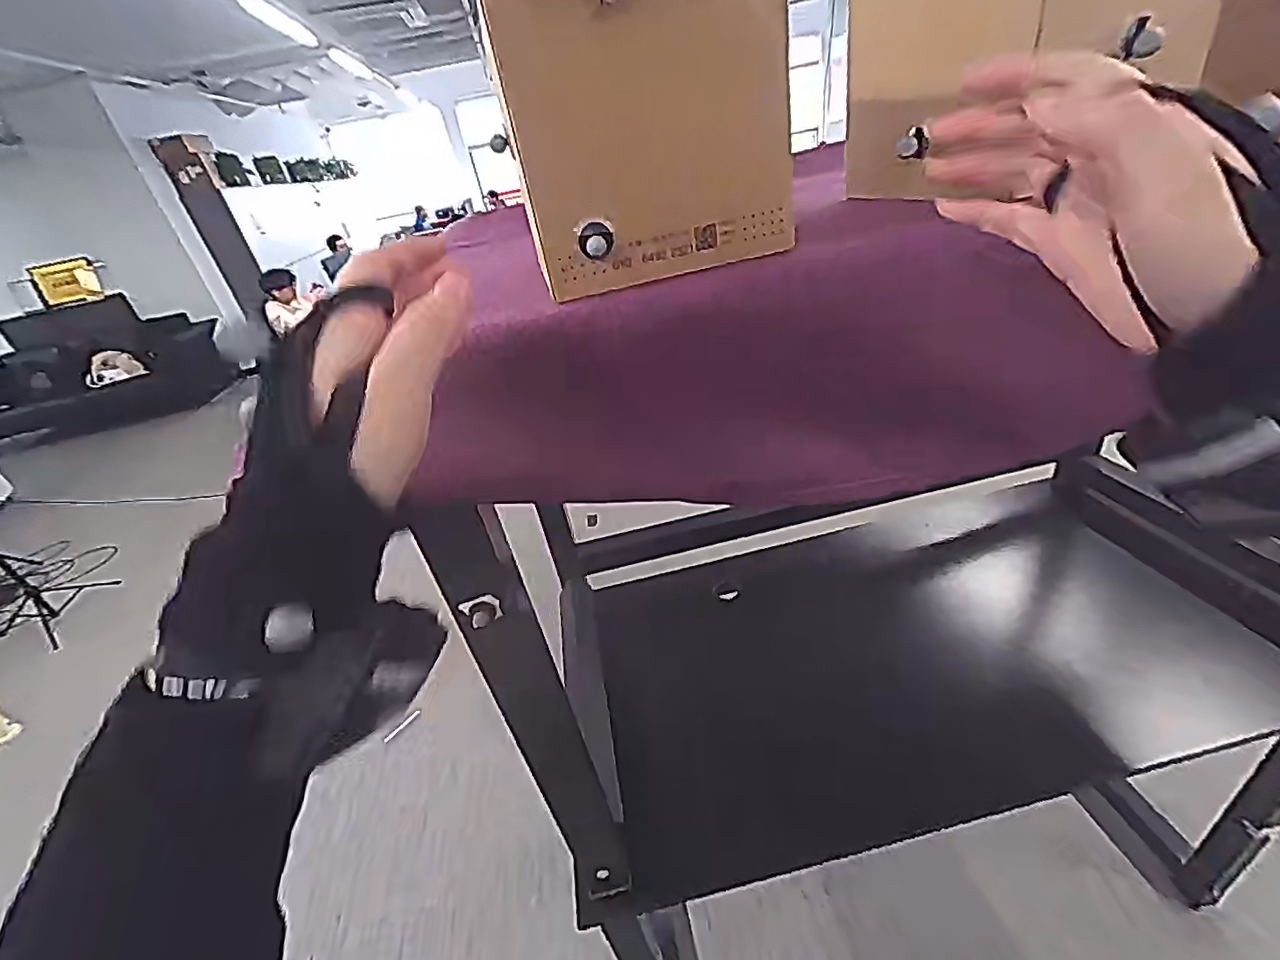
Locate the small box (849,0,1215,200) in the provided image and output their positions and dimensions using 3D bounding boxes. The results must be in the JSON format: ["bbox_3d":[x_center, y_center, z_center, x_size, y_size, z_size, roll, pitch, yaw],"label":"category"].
[{"bbox_3d":[0.282,-0.321,0.410,0.168,0.176,0.179,-19,32,-12],"label":"small box"}]

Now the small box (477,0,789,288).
[{"bbox_3d":[-0.006,-0.243,0.380,0.168,0.176,0.179,-15,30,-6],"label":"small box"}]
